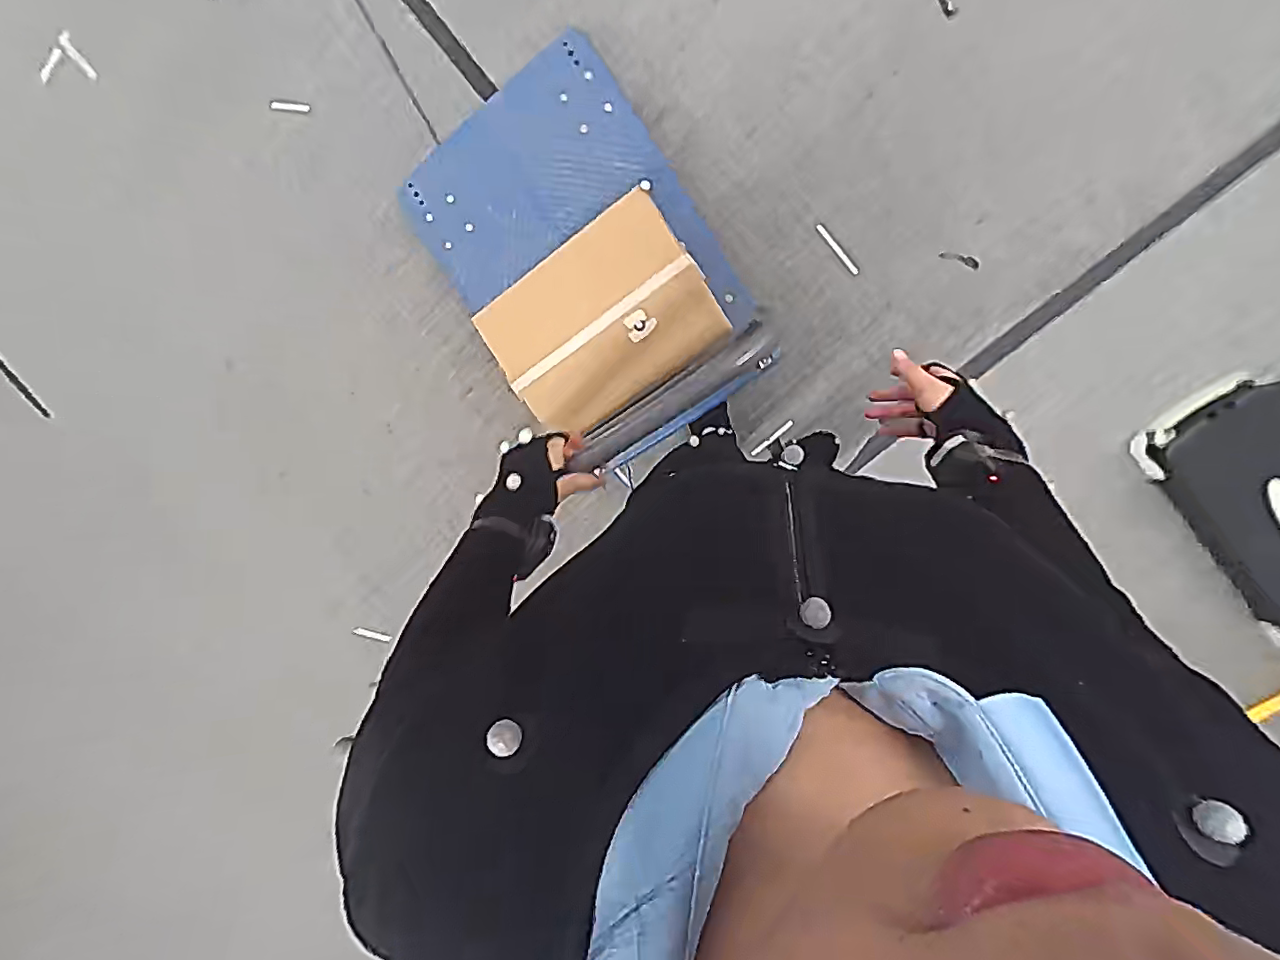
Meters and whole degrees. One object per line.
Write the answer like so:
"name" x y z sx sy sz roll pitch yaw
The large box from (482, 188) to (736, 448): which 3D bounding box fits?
"large box" -0.044 -0.316 1.159 0.408 0.320 0.320 -33 94 13
